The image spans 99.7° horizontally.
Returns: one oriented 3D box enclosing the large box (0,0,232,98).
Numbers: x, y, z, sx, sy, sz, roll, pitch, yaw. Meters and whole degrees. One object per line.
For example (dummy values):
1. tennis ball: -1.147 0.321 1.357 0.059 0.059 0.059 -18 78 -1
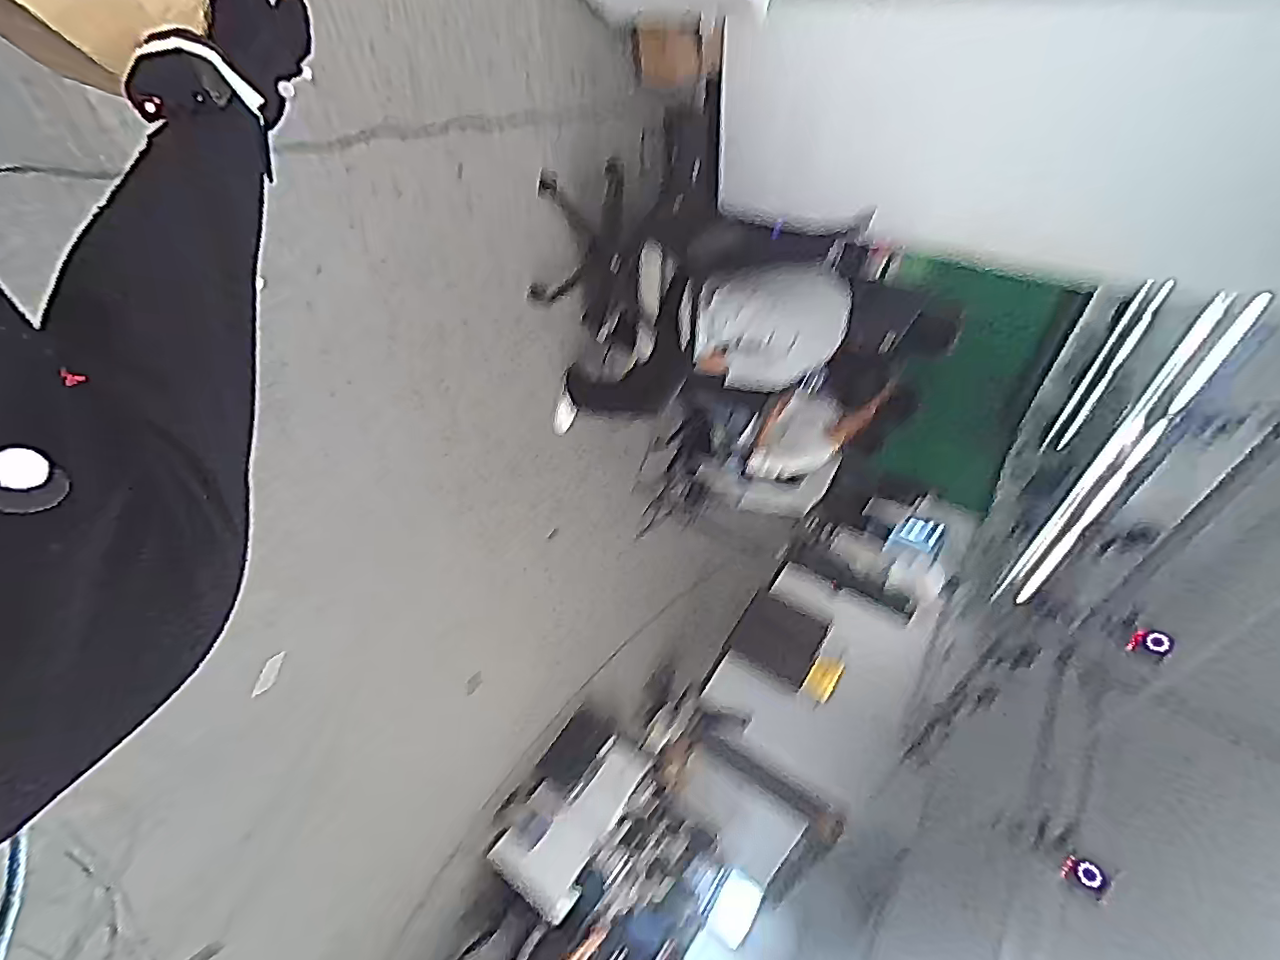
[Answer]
1. large box: -0.528 -0.573 0.362 0.320 0.320 0.408 -59 155 -1
